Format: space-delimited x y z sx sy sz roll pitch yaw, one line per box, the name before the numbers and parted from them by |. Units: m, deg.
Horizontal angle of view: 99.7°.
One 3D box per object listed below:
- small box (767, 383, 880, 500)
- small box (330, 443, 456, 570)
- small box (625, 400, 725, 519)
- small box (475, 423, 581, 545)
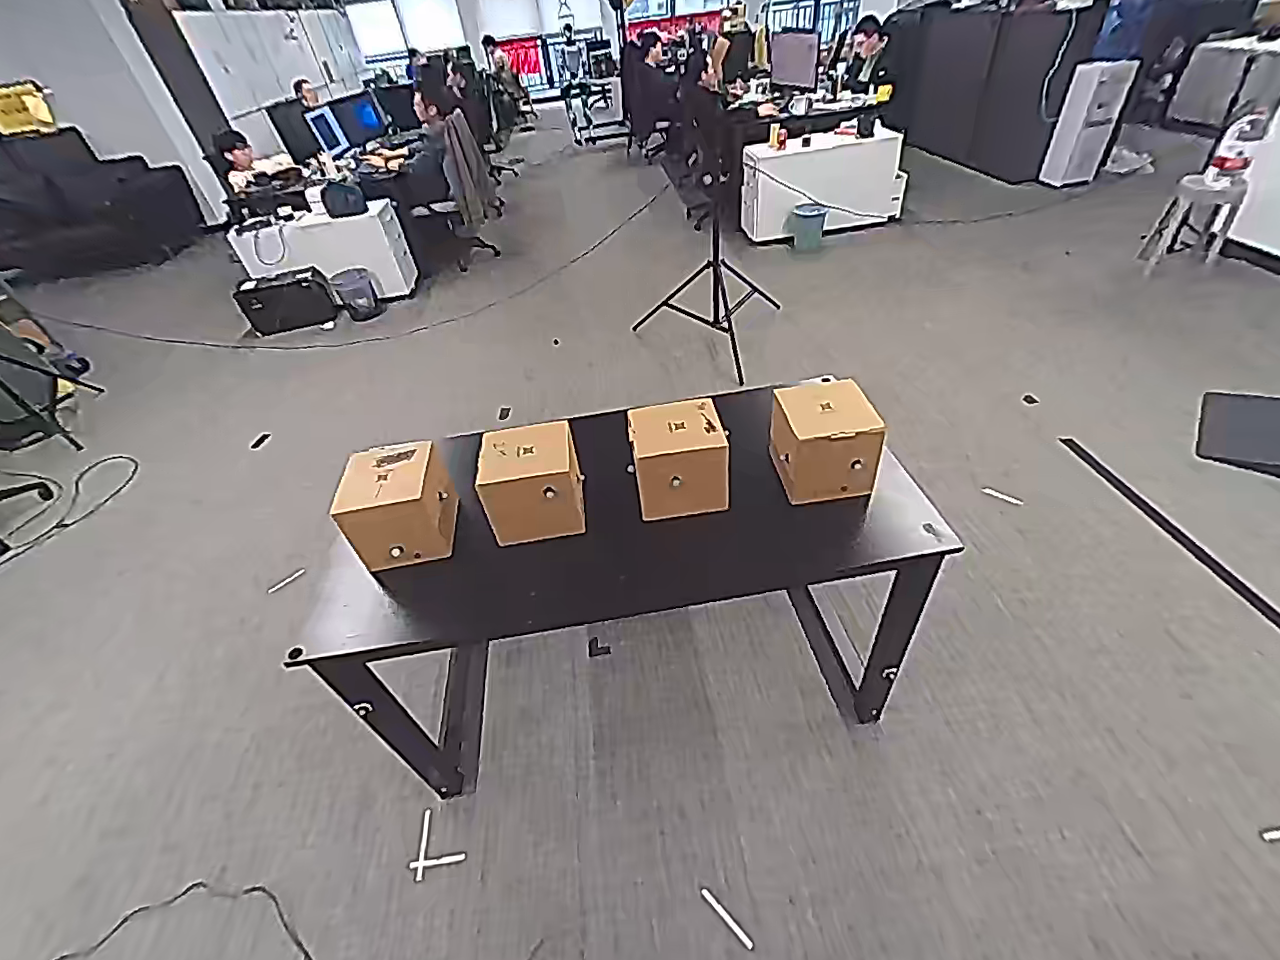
small box | 0.360 -0.072 1.094 0.168 0.176 0.179 -7 40 0
small box | -0.480 0.054 1.085 0.168 0.176 0.179 -11 43 -3
small box | 0.072 -0.038 1.102 0.179 0.176 0.168 -9 42 0
small box | -0.217 0.009 1.093 0.179 0.176 0.168 -9 41 -2
